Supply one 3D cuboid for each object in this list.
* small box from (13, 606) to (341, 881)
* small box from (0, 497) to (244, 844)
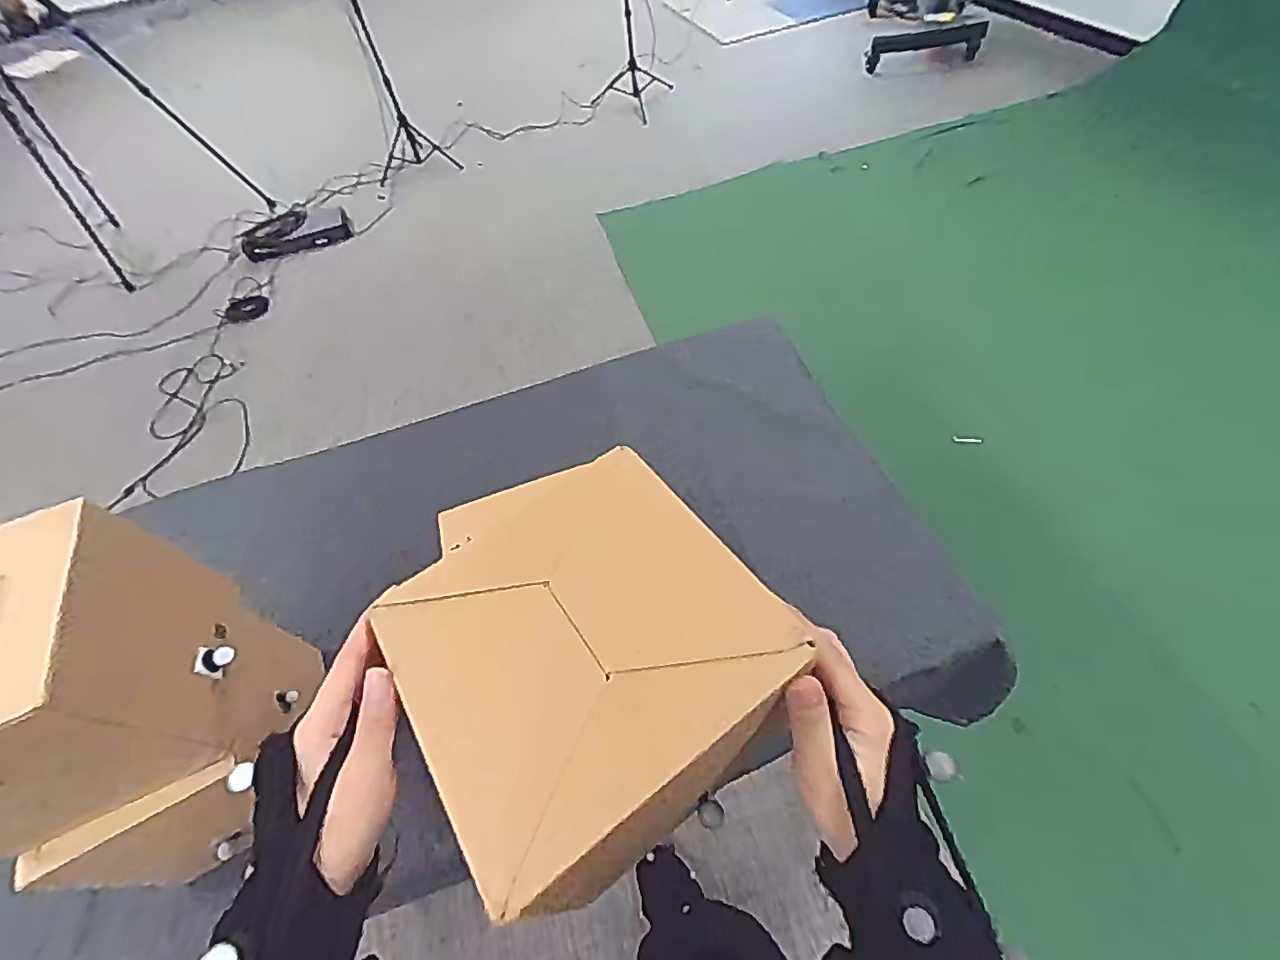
[{"bbox_3d":[-0.427,0.254,0.529,0.168,0.176,0.179,-27,57,-12],"label":"small box"},{"bbox_3d":[-0.444,0.148,0.406,0.179,0.176,0.168,-23,57,-10],"label":"small box"}]
